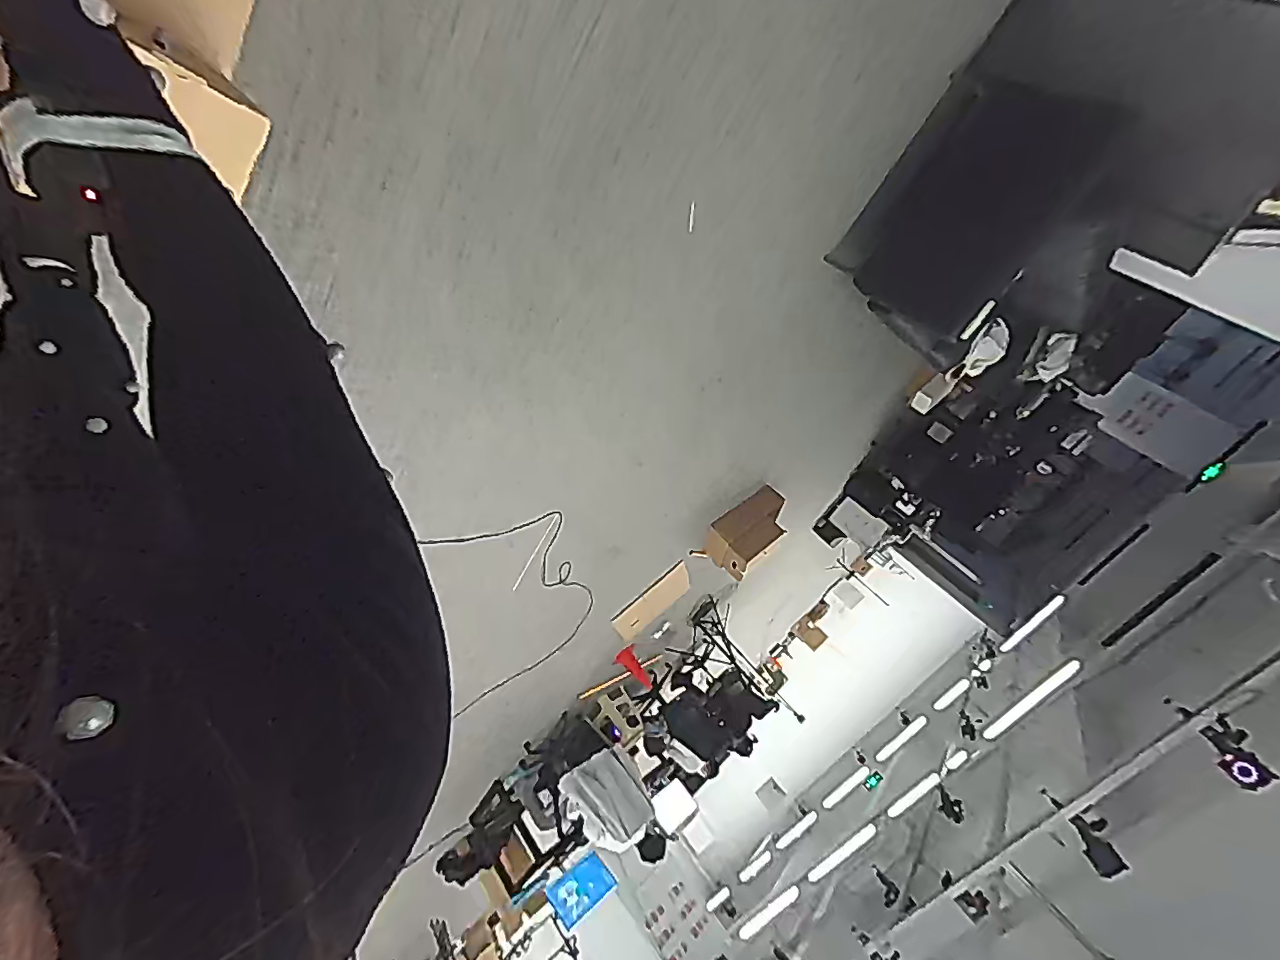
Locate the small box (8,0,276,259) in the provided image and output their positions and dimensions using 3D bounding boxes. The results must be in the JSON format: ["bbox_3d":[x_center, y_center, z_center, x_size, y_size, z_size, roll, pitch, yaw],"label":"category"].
[{"bbox_3d":[-0.540,-0.383,0.586,0.168,0.176,0.179,7,120,-57],"label":"small box"}]
